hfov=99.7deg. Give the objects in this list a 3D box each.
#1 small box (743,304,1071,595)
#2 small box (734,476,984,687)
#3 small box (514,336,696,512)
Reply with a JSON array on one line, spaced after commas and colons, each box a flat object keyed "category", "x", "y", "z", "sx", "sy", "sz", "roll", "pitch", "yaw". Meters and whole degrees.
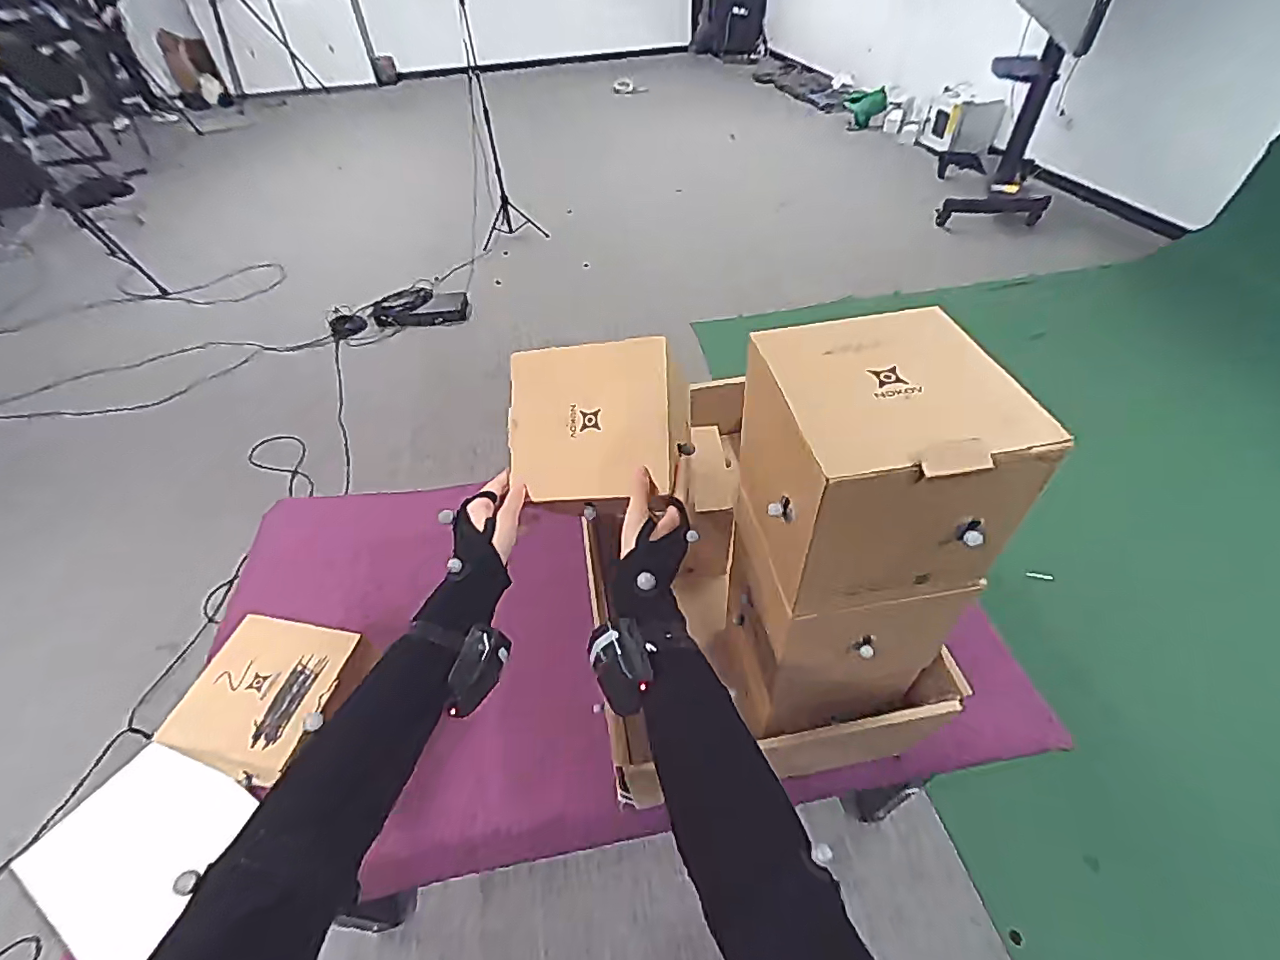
[{"category": "small box", "x": 0.190, "y": -0.019, "z": 0.453, "sx": 0.168, "sy": 0.176, "sz": 0.179, "roll": -8, "pitch": 46, "yaw": -2}, {"category": "small box", "x": 0.205, "y": 0.096, "z": 0.567, "sx": 0.179, "sy": 0.176, "sz": 0.168, "roll": -9, "pitch": 47, "yaw": -1}, {"category": "small box", "x": -0.029, "y": -0.053, "z": 0.635, "sx": 0.179, "sy": 0.176, "sz": 0.168, "roll": -3, "pitch": 80, "yaw": 15}]
